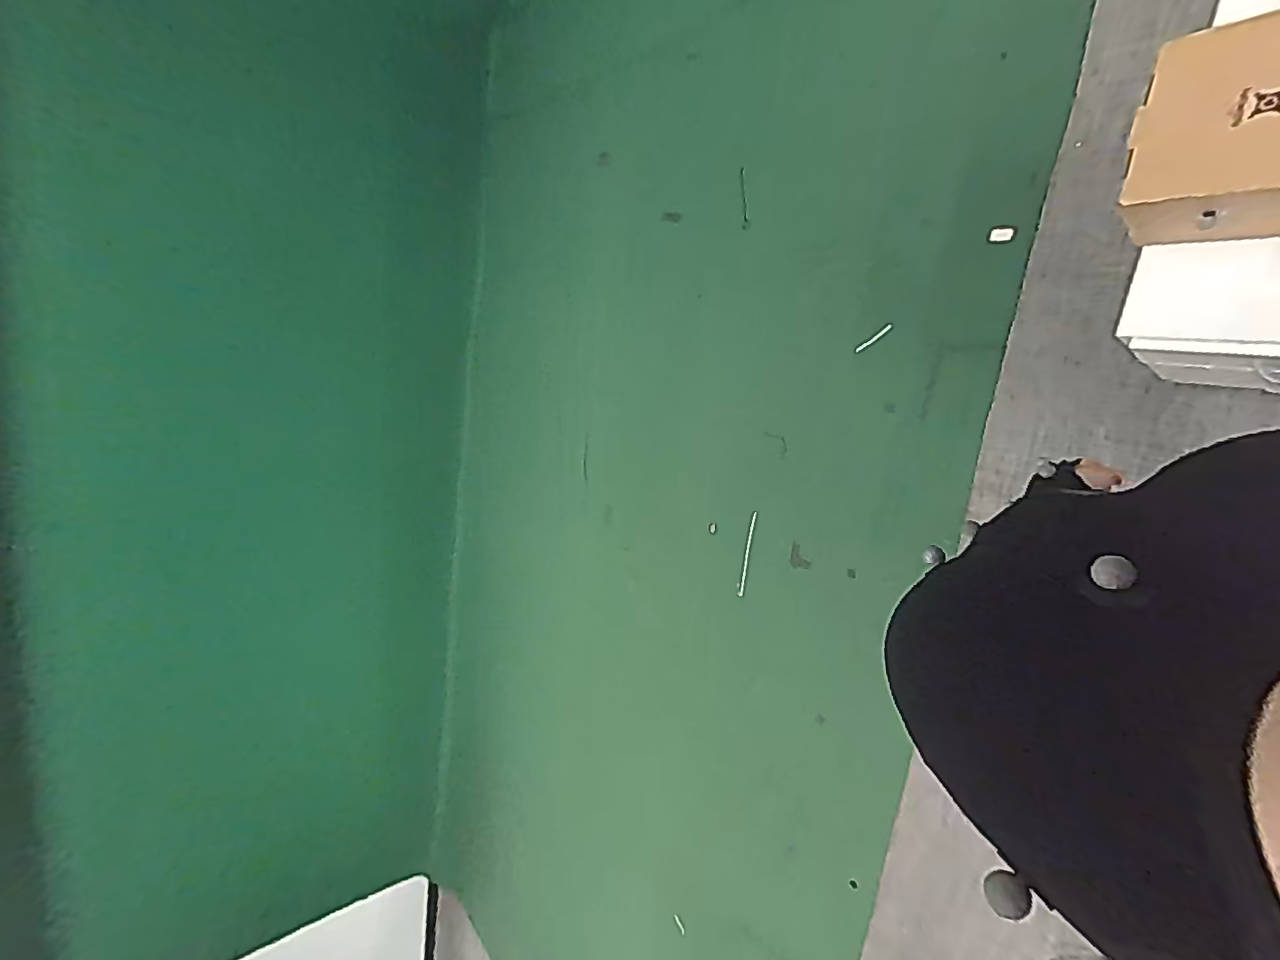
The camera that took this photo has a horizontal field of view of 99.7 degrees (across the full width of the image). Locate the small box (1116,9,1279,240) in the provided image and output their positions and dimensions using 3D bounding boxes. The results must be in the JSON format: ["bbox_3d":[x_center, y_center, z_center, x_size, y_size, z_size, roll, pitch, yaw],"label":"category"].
[{"bbox_3d":[0.657,-0.368,0.578,0.179,0.176,0.168,19,106,46],"label":"small box"}]
